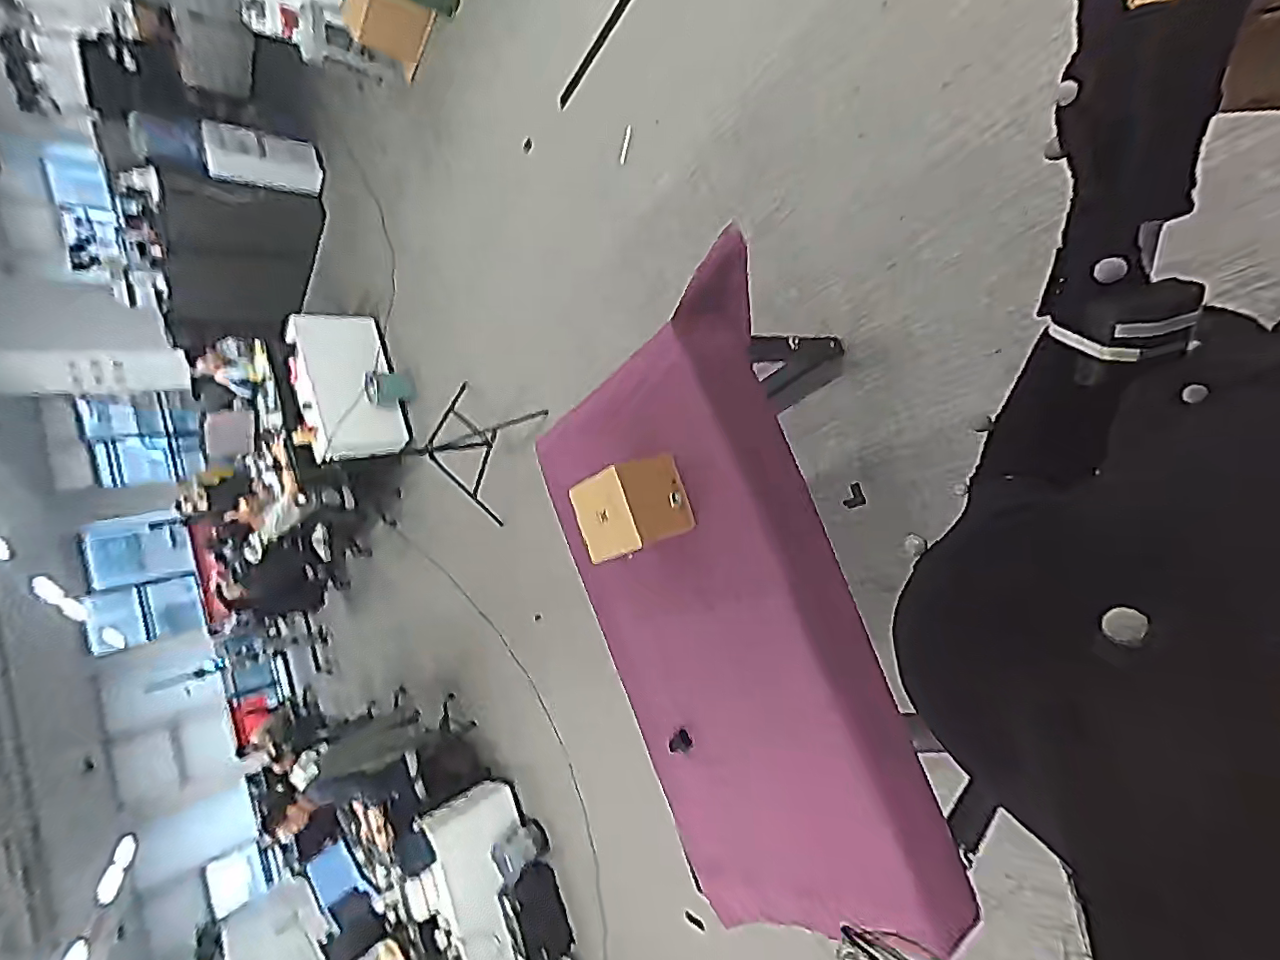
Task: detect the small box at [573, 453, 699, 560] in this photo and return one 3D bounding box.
[{"bbox_3d":[-0.007,0.055,1.135,0.179,0.176,0.168,-28,80,47],"label":"small box"}]
